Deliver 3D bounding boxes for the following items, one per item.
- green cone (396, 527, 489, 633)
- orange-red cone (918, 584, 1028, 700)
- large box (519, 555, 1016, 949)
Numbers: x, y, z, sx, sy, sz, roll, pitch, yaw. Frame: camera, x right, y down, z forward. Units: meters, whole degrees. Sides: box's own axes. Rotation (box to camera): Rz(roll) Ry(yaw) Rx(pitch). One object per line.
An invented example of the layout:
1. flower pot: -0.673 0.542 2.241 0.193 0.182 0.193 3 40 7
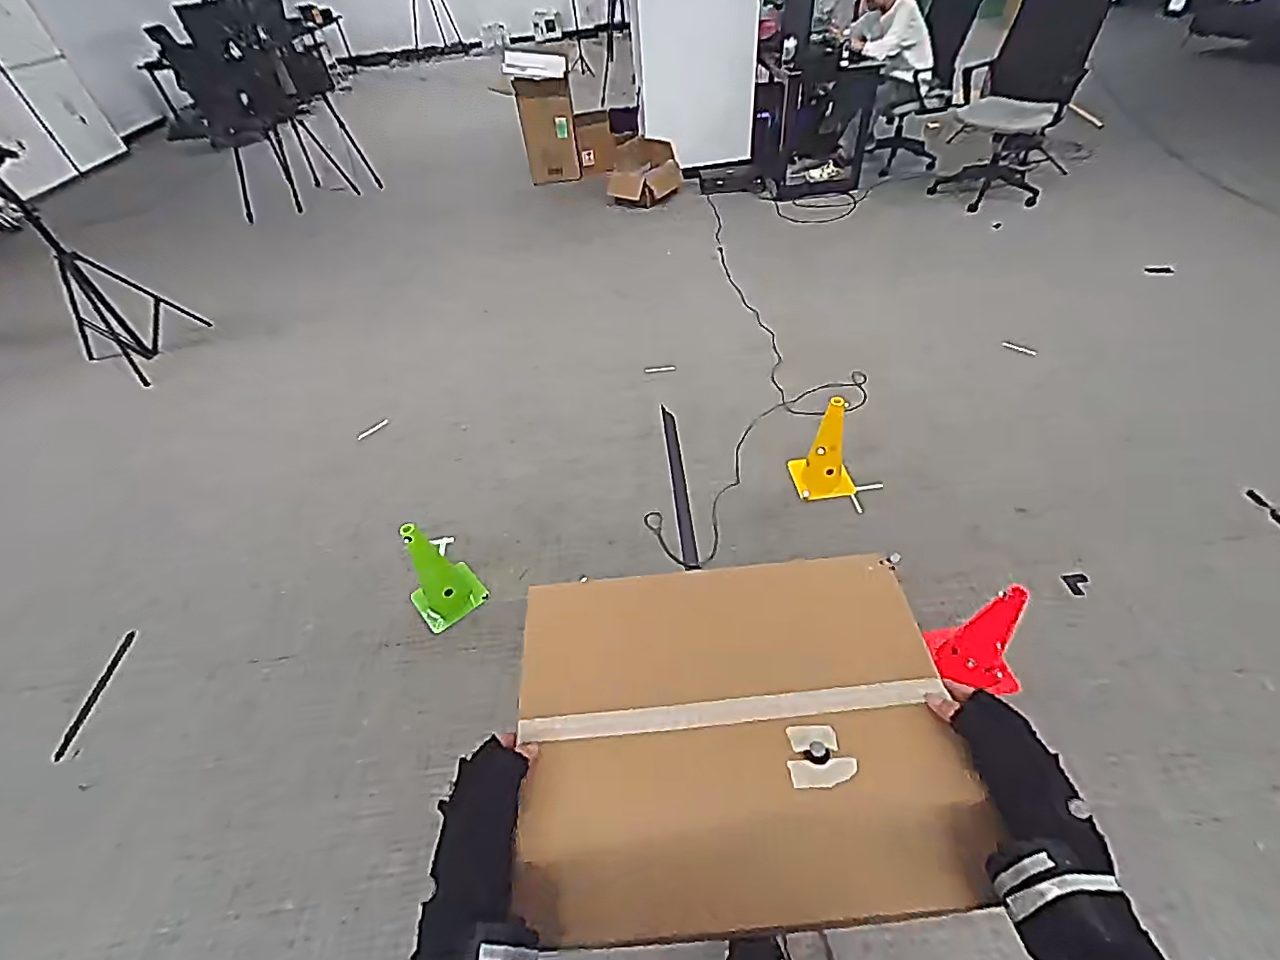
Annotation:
1. green cone: -0.637 0.263 1.638 0.202 0.368 0.200 -37 52 -23
2. orange-red cone: 0.869 0.372 1.344 0.198 0.360 0.199 -8 45 -2
3. large box: 0.096 0.318 0.629 0.408 0.320 0.320 -5 49 -1
